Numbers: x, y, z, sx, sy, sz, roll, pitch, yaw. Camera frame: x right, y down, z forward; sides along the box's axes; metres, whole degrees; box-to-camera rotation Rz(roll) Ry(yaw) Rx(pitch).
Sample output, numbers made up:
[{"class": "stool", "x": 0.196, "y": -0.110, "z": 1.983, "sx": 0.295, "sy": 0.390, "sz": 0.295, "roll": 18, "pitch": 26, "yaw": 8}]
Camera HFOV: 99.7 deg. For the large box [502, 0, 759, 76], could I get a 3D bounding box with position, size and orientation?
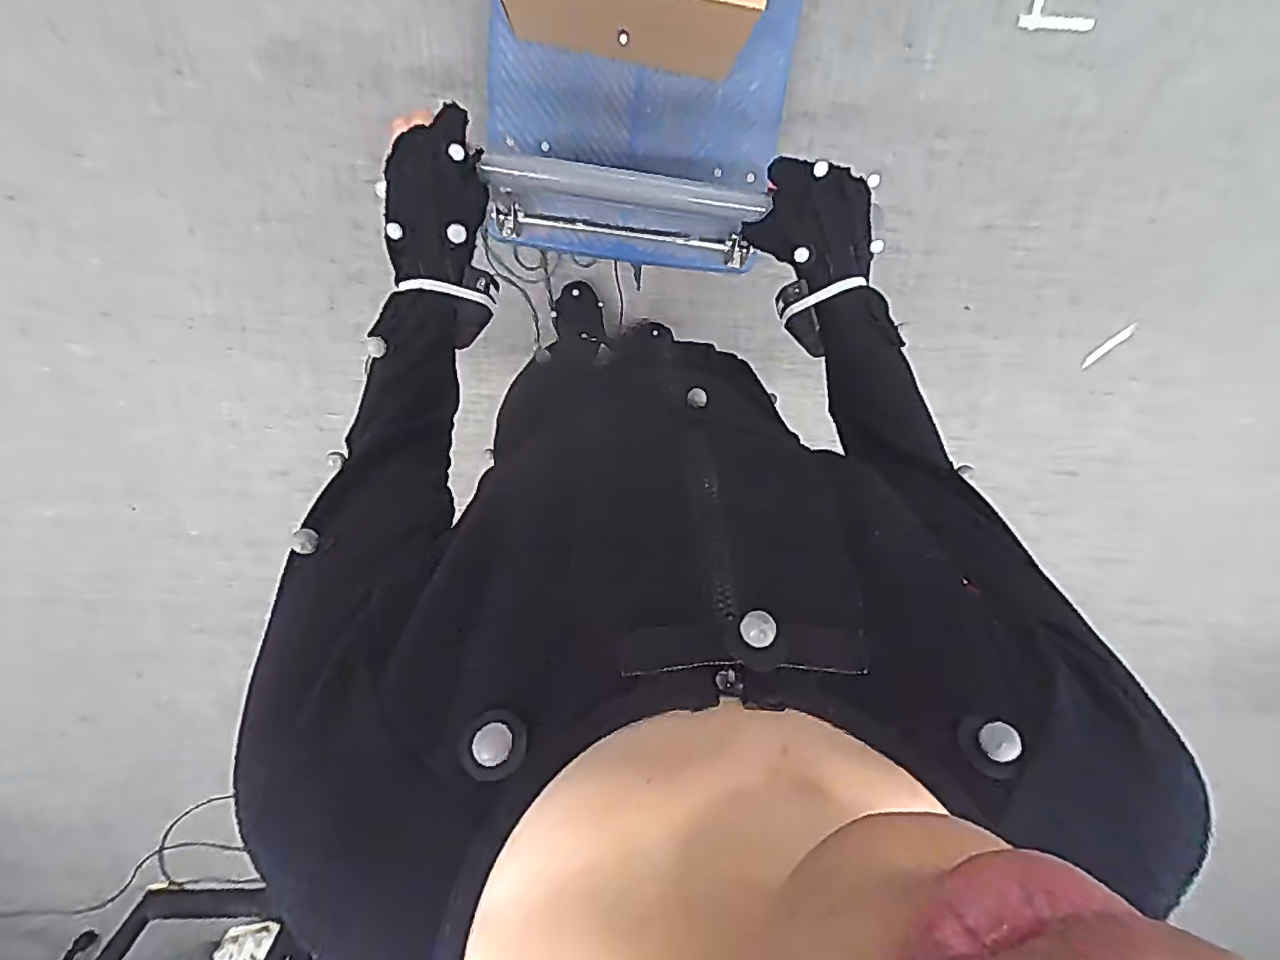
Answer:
[{"class": "large box", "x": -0.008, "y": -0.901, "z": 0.861, "sx": 0.408, "sy": 0.320, "sz": 0.320, "roll": 7, "pitch": 110, "yaw": -5}]
